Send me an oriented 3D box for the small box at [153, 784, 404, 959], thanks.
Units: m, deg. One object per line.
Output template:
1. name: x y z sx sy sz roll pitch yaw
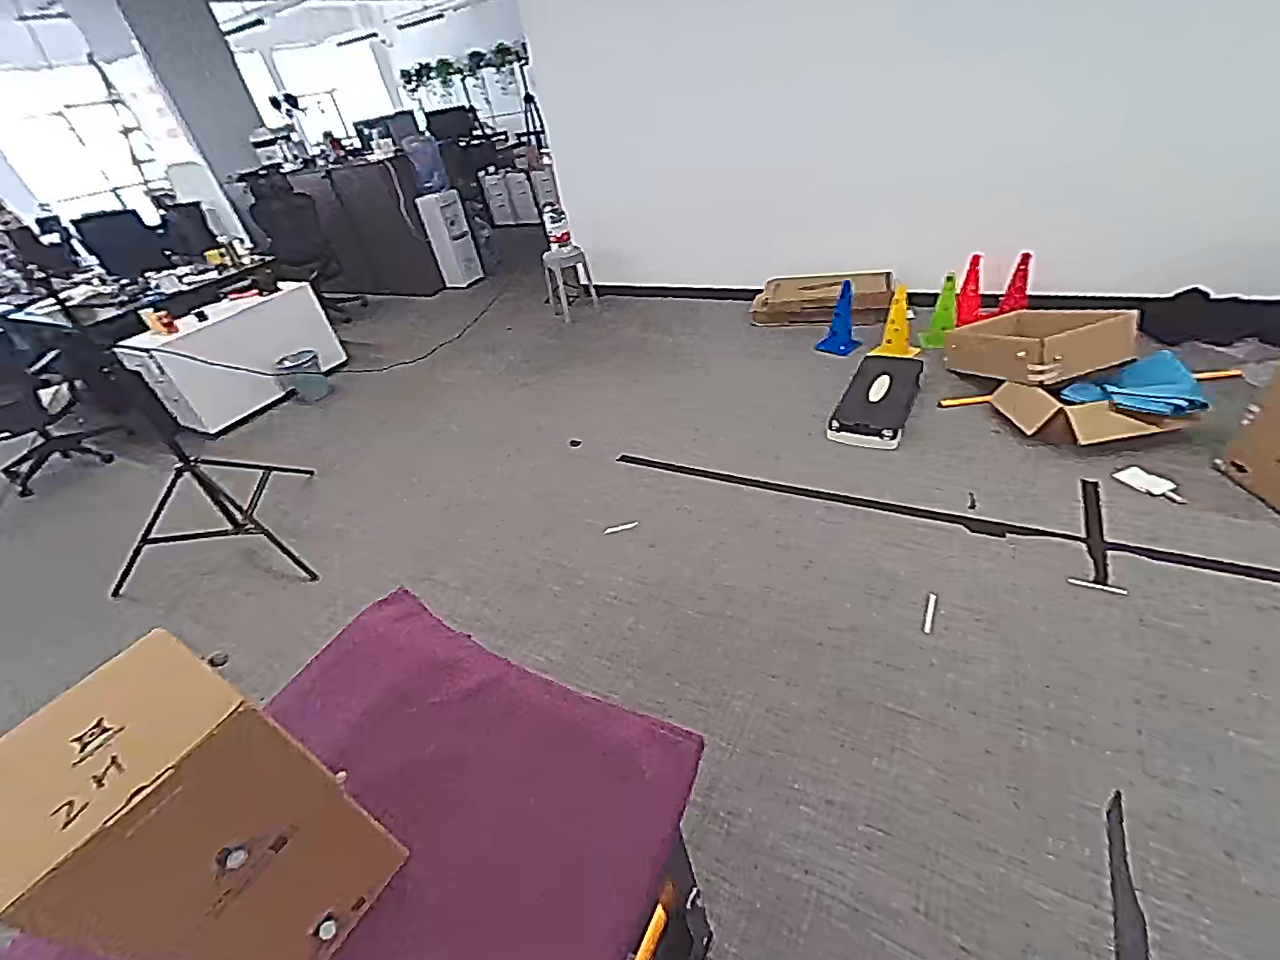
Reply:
1. small box: -0.393 0.397 0.572 0.179 0.176 0.168 15 44 29

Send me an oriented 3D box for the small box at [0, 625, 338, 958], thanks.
1. small box: -0.415 0.266 0.474 0.179 0.176 0.168 15 45 29
